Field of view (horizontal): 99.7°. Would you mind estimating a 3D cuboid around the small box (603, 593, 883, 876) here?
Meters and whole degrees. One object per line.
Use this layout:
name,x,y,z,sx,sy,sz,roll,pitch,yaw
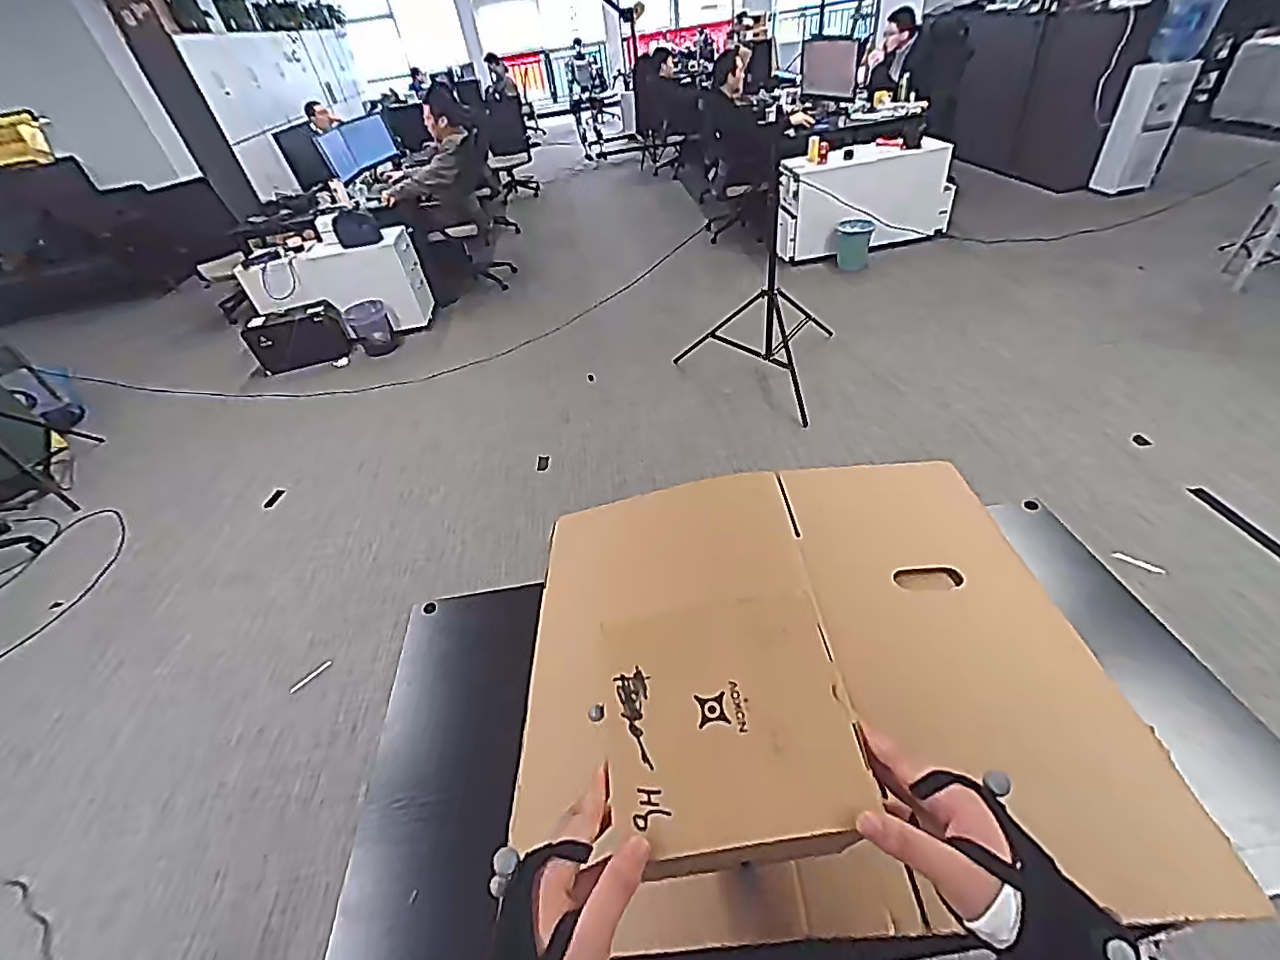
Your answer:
small box,0.068,0.217,0.455,0.179,0.176,0.168,-8,49,-1
